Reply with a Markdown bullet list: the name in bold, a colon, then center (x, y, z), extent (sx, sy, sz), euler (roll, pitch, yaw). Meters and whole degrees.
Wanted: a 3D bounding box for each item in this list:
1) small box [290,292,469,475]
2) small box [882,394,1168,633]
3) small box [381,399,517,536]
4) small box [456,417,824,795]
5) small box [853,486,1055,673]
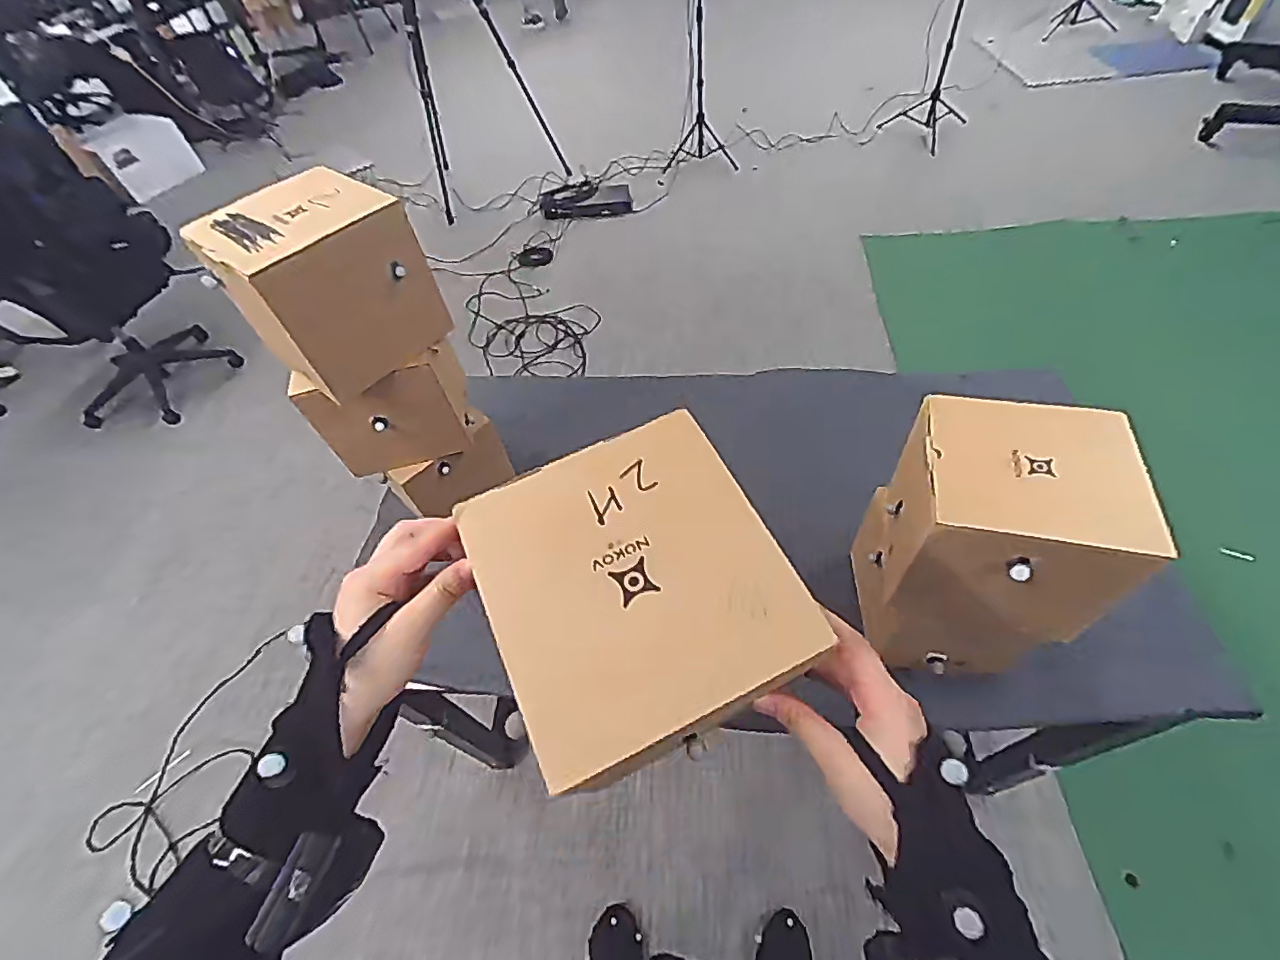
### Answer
- **small box**: center (-0.354, -0.134, 0.772), extent (0.179, 0.176, 0.168), euler (-16, 53, -4)
- **small box**: center (0.360, 0.037, 0.549), extent (0.179, 0.176, 0.168), euler (8, 53, 15)
- **small box**: center (-0.337, -0.038, 0.905), extent (0.179, 0.176, 0.168), euler (36, 65, 28)
- **small box**: center (-0.004, 0.093, 0.386), extent (0.168, 0.176, 0.179), euler (-24, 63, -10)
- **small box**: center (0.379, 0.126, 0.684), extent (0.168, 0.176, 0.179), euler (0, 52, 8)
